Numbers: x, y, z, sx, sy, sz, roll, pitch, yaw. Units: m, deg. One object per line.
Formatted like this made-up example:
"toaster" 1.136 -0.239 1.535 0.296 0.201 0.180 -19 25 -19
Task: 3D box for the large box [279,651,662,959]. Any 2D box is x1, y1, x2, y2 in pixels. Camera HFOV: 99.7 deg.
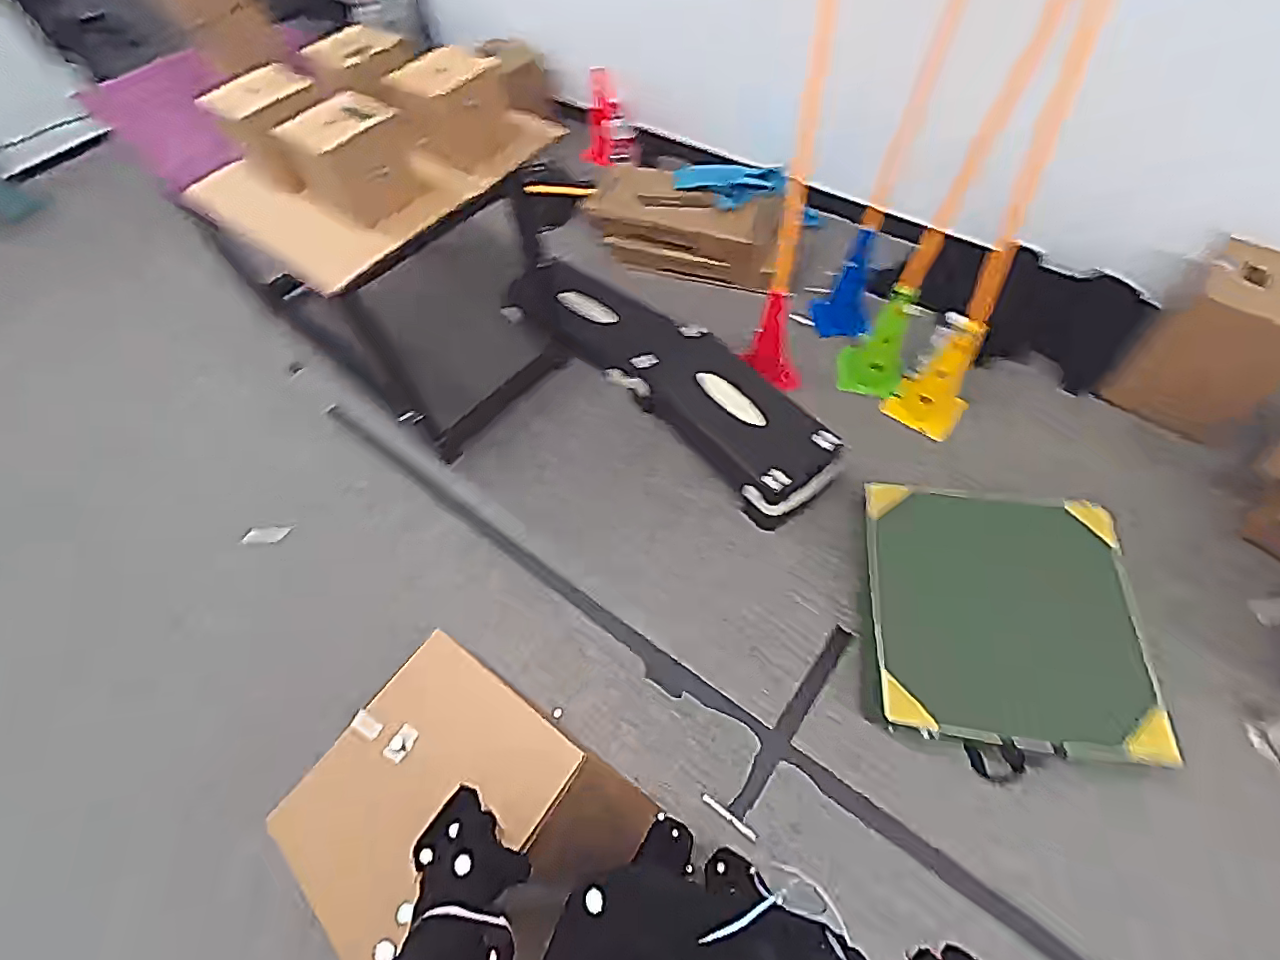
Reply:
"large box" -0.214 0.520 0.813 0.320 0.408 0.320 25 64 32
